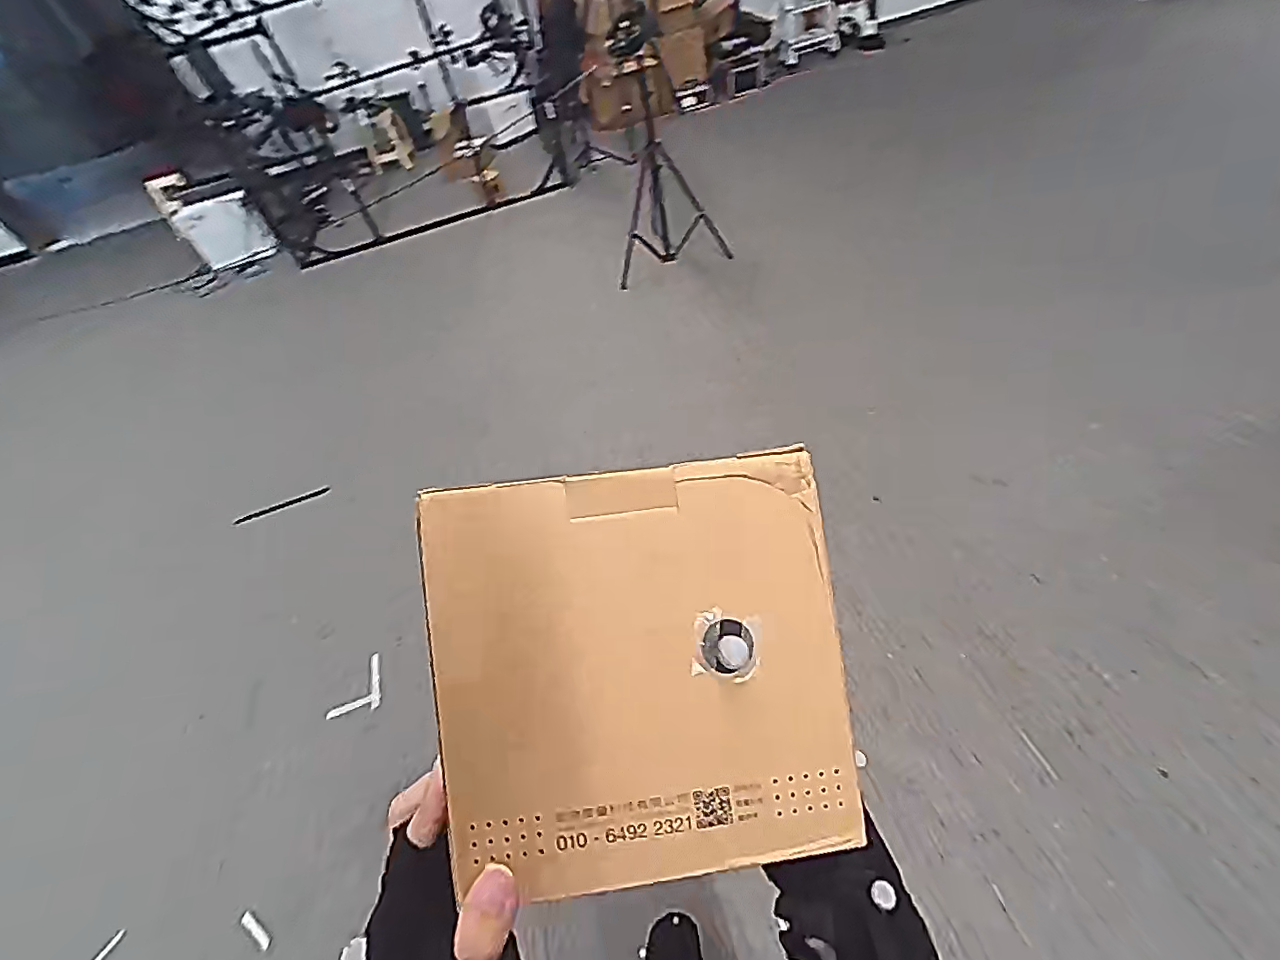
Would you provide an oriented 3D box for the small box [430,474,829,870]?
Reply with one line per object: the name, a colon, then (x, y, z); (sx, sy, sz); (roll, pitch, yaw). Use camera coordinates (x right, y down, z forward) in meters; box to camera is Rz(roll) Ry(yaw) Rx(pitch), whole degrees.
small box: (-0.004, 0.095, 0.320); (0.168, 0.179, 0.176); (-7, 87, -2)
